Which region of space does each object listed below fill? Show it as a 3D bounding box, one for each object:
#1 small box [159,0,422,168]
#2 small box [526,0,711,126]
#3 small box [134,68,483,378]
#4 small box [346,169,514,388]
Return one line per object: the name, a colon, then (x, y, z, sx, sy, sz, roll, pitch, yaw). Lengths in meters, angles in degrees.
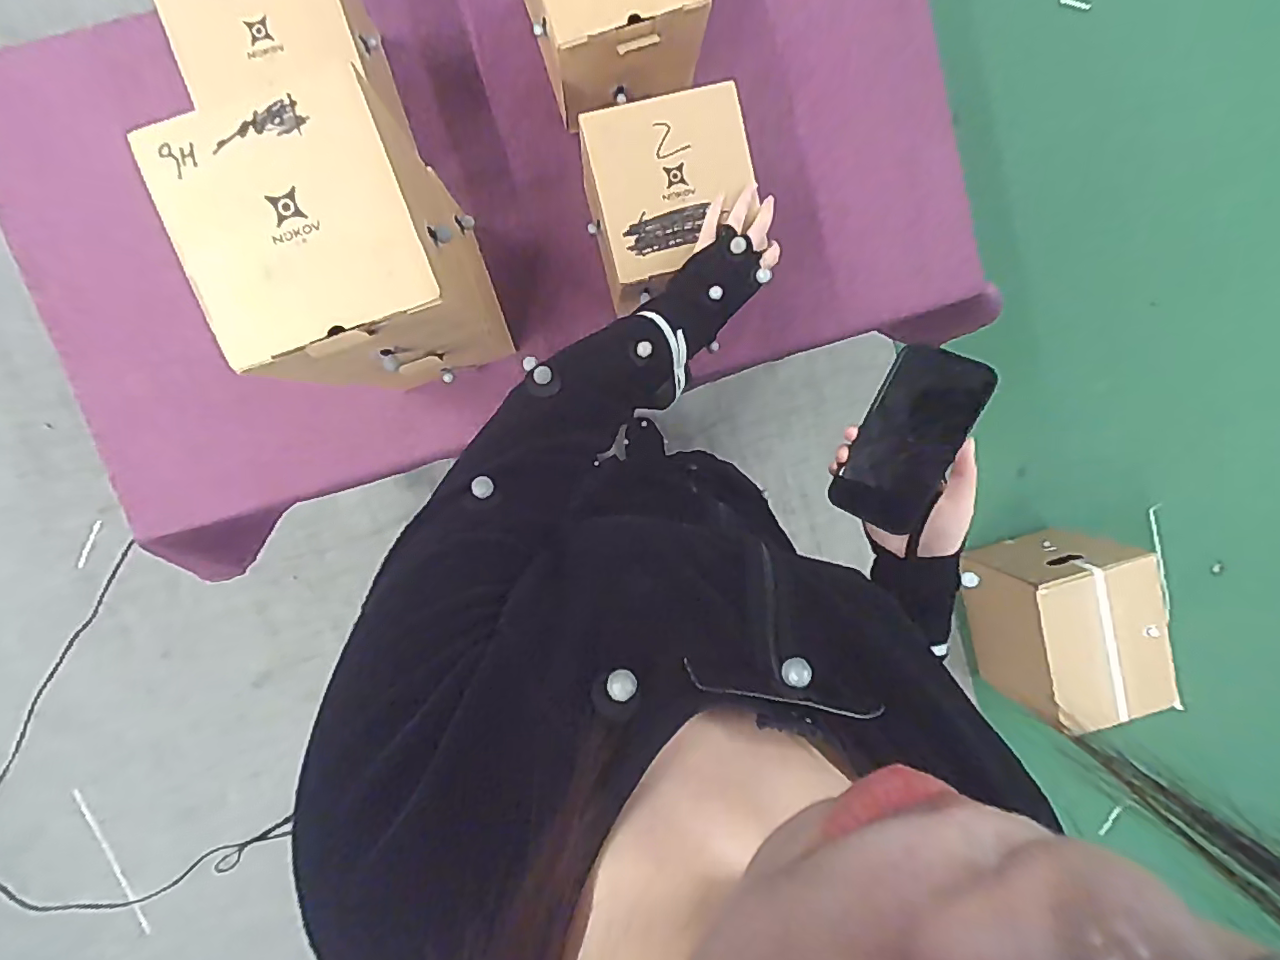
small box: (-0.368, -0.435, 0.601, 0.168, 0.176, 0.179, -17, 97, -3)
small box: (-0.037, -0.548, 0.609, 0.168, 0.176, 0.179, -19, 99, -1)
small box: (-0.255, -0.194, 0.469, 0.168, 0.176, 0.179, -20, 98, -1)
small box: (-0.263, -0.218, 0.632, 0.168, 0.176, 0.179, -19, 97, -1)
